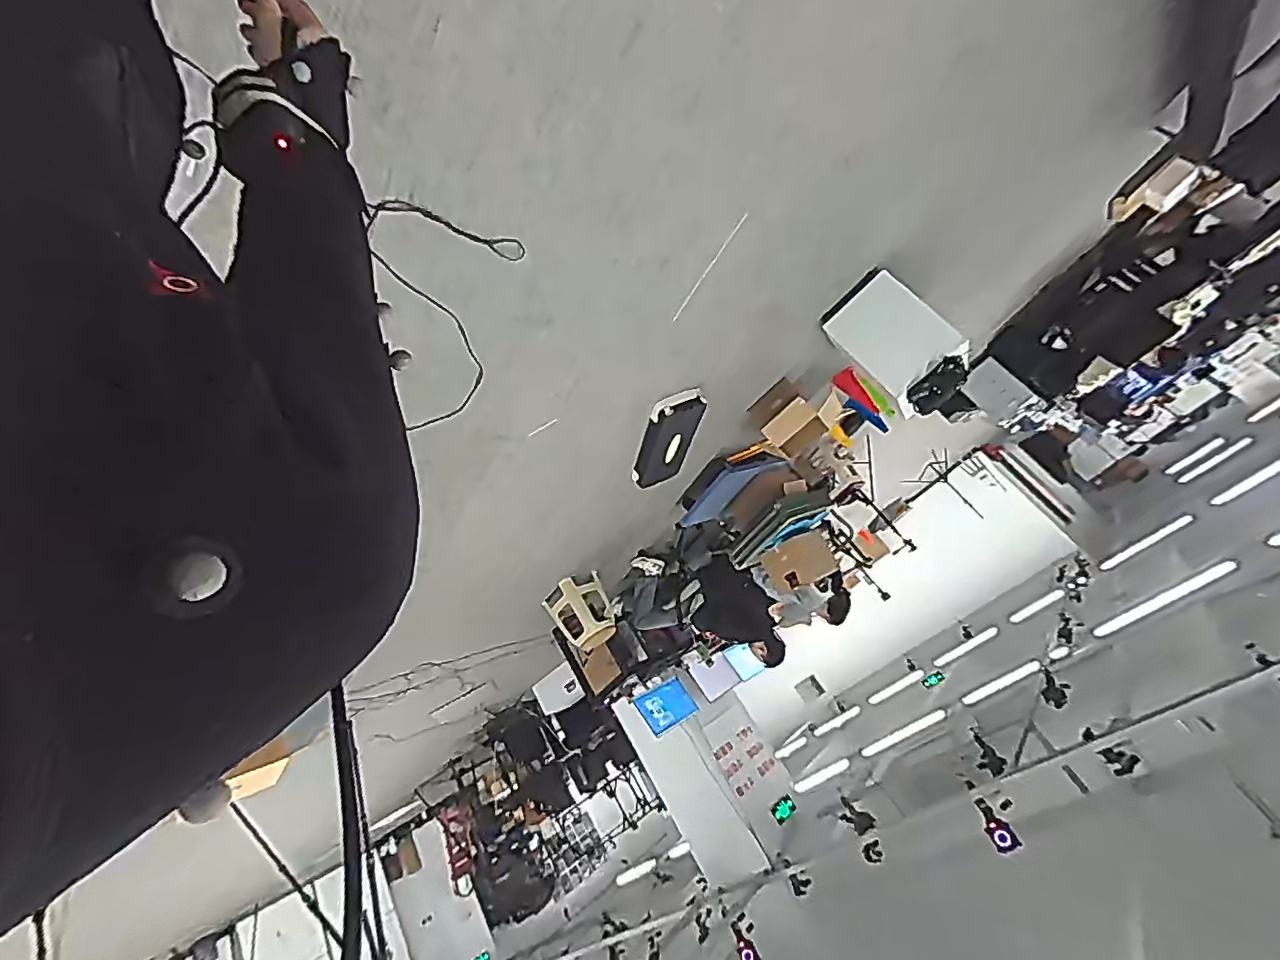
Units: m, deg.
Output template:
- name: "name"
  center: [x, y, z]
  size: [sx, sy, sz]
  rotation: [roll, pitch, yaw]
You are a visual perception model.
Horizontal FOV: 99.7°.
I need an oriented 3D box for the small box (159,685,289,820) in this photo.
- name: "small box"
  center: [-0.867, 0.556, 1.124]
  size: [0.179, 0.176, 0.168]
  rotation: [-5, 143, -49]
